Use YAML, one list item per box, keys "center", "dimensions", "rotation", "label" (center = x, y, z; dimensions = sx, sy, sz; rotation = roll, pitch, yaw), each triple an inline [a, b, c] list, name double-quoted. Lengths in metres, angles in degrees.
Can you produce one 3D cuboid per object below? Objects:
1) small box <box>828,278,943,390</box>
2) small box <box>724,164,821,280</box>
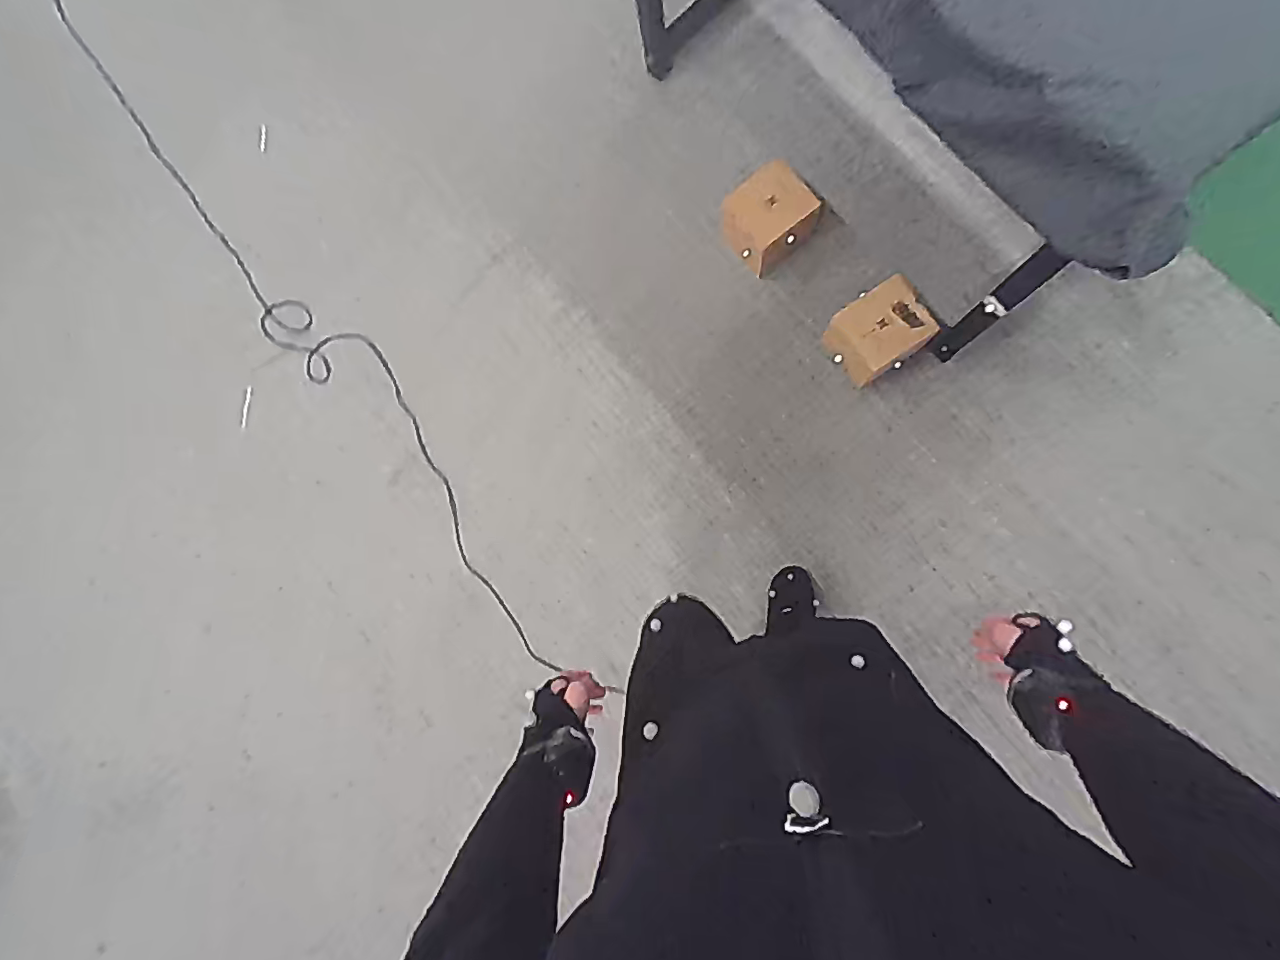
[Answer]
- center: [0.583, -0.346, 1.312]
  dimensions: [0.179, 0.176, 0.168]
  rotation: [-34, 79, 6]
  label: "small box"
- center: [0.336, -0.653, 1.392]
  dimensions: [0.179, 0.176, 0.168]
  rotation: [-37, 81, 3]
  label: "small box"
